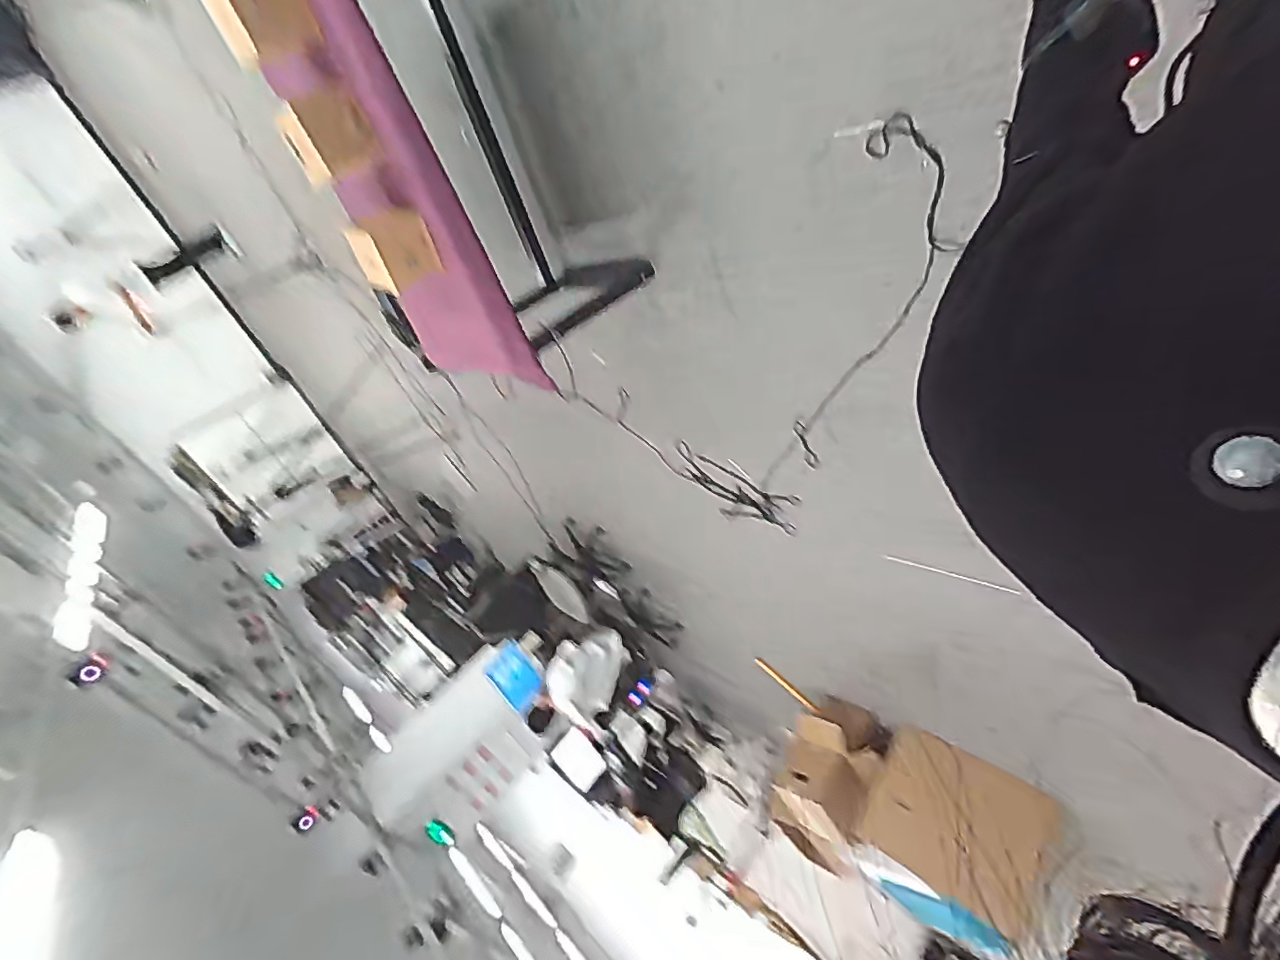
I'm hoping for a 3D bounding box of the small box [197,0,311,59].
[{"bbox_3d":[-0.900,-1.113,1.243,0.168,0.176,0.179,20,142,41],"label":"small box"}]

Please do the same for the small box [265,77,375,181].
[{"bbox_3d":[-0.824,-0.907,1.402,0.179,0.176,0.168,12,137,46],"label":"small box"}]

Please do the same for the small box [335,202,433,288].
[{"bbox_3d":[-0.727,-0.682,1.558,0.179,0.176,0.168,27,146,33],"label":"small box"}]
